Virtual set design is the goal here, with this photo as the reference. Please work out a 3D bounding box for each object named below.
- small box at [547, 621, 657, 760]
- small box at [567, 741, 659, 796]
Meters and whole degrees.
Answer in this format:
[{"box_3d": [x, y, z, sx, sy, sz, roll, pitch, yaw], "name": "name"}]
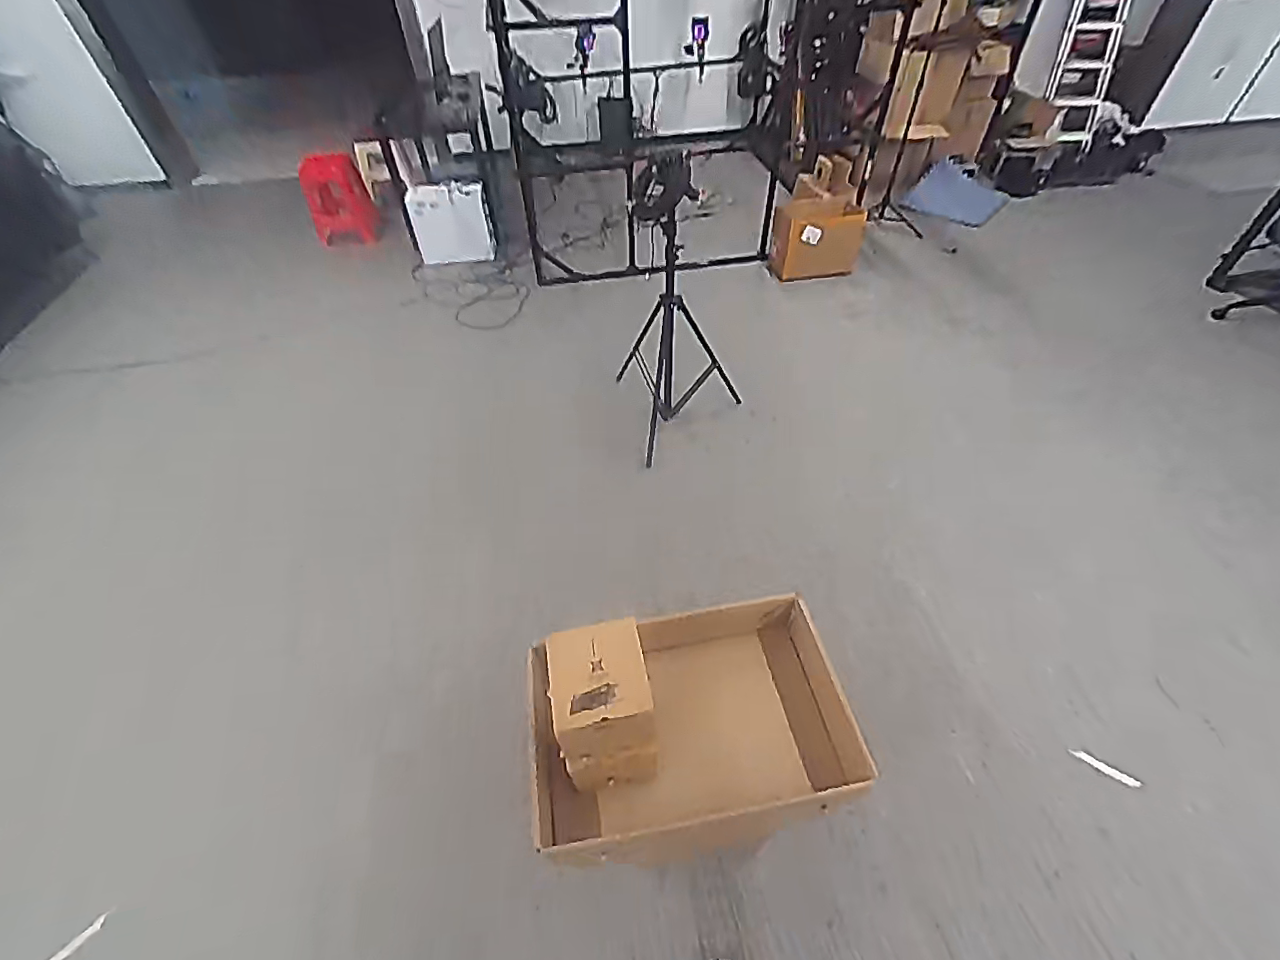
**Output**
[{"box_3d": [-0.067, 0.383, 0.972, 0.168, 0.176, 0.179, -10, 47, -6], "name": "small box"}, {"box_3d": [-0.060, 0.503, 1.084, 0.168, 0.176, 0.179, -10, 48, -6], "name": "small box"}]
